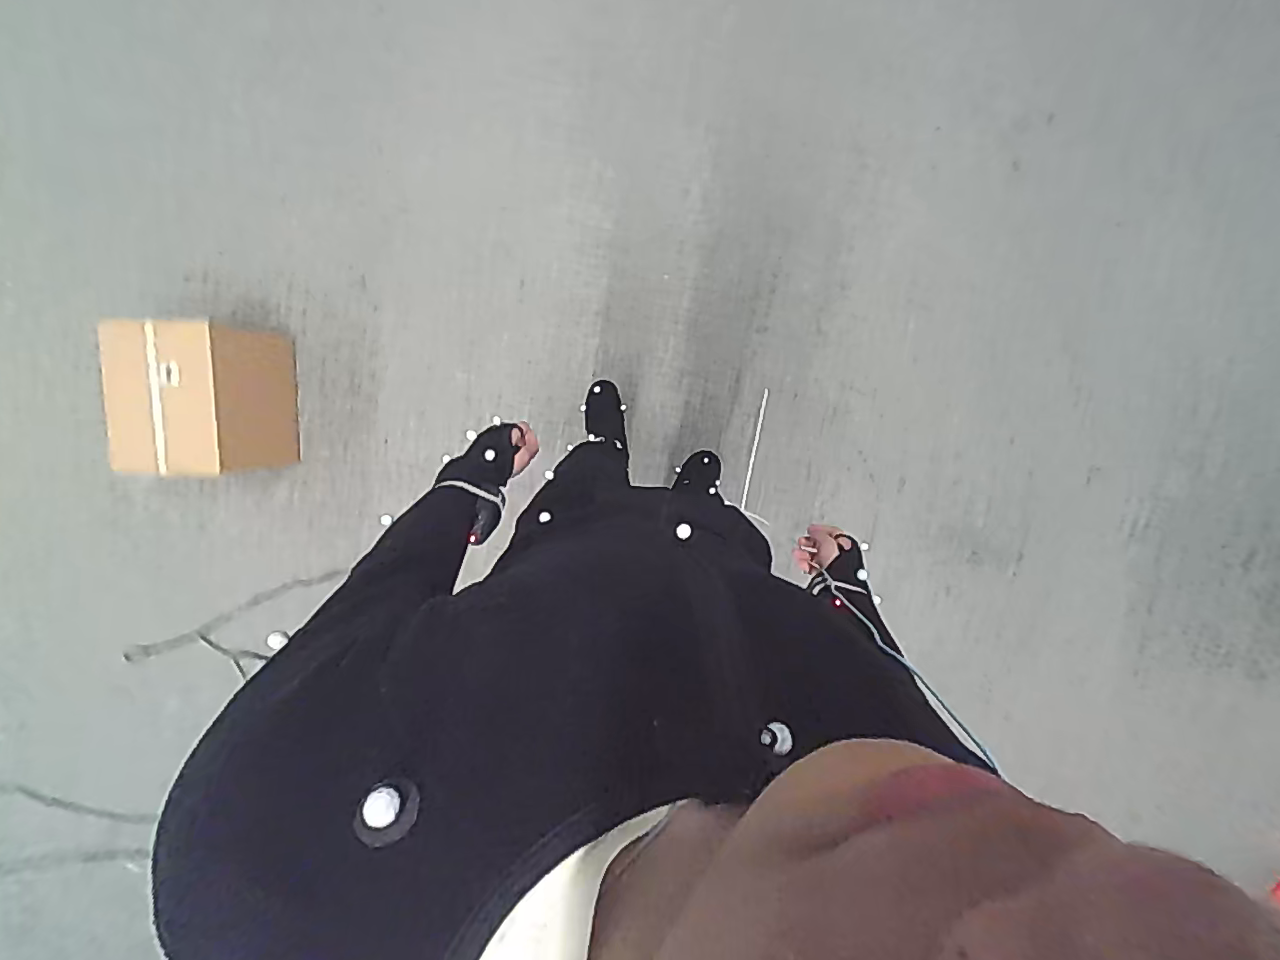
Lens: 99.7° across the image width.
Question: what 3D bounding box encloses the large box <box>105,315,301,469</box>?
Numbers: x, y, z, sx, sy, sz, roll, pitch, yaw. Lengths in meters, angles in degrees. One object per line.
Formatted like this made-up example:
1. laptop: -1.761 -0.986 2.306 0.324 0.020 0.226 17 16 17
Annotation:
1. large box: -1.236 -0.242 1.564 0.320 0.320 0.408 3 96 4
